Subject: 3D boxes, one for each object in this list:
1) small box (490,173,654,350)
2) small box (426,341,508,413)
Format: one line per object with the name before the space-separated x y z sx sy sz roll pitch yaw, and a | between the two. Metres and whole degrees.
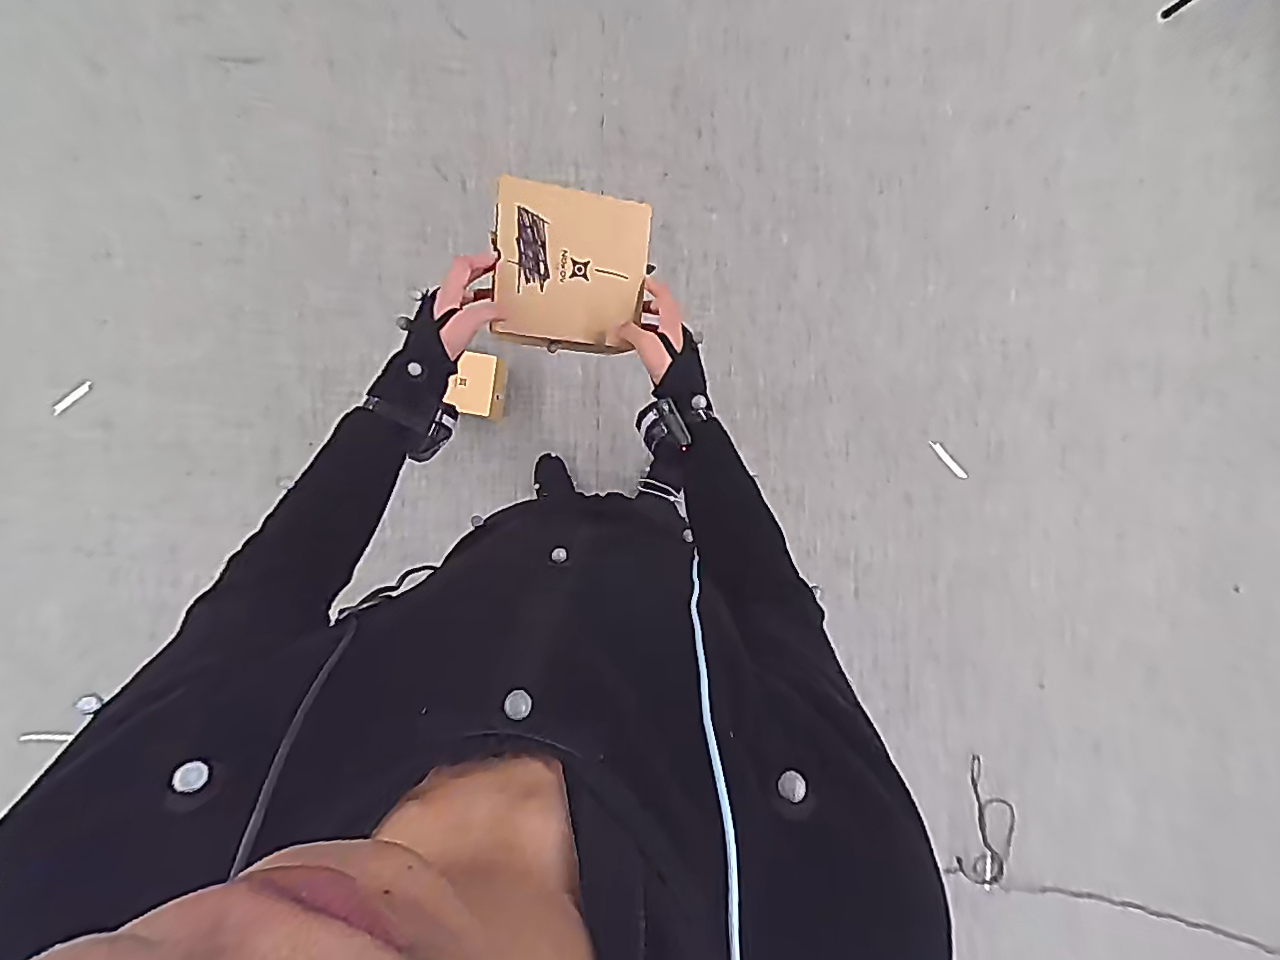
small box | -0.095 -0.262 0.694 0.179 0.176 0.168 4 100 -16
small box | -0.482 -0.285 1.531 0.179 0.176 0.168 9 94 -2
